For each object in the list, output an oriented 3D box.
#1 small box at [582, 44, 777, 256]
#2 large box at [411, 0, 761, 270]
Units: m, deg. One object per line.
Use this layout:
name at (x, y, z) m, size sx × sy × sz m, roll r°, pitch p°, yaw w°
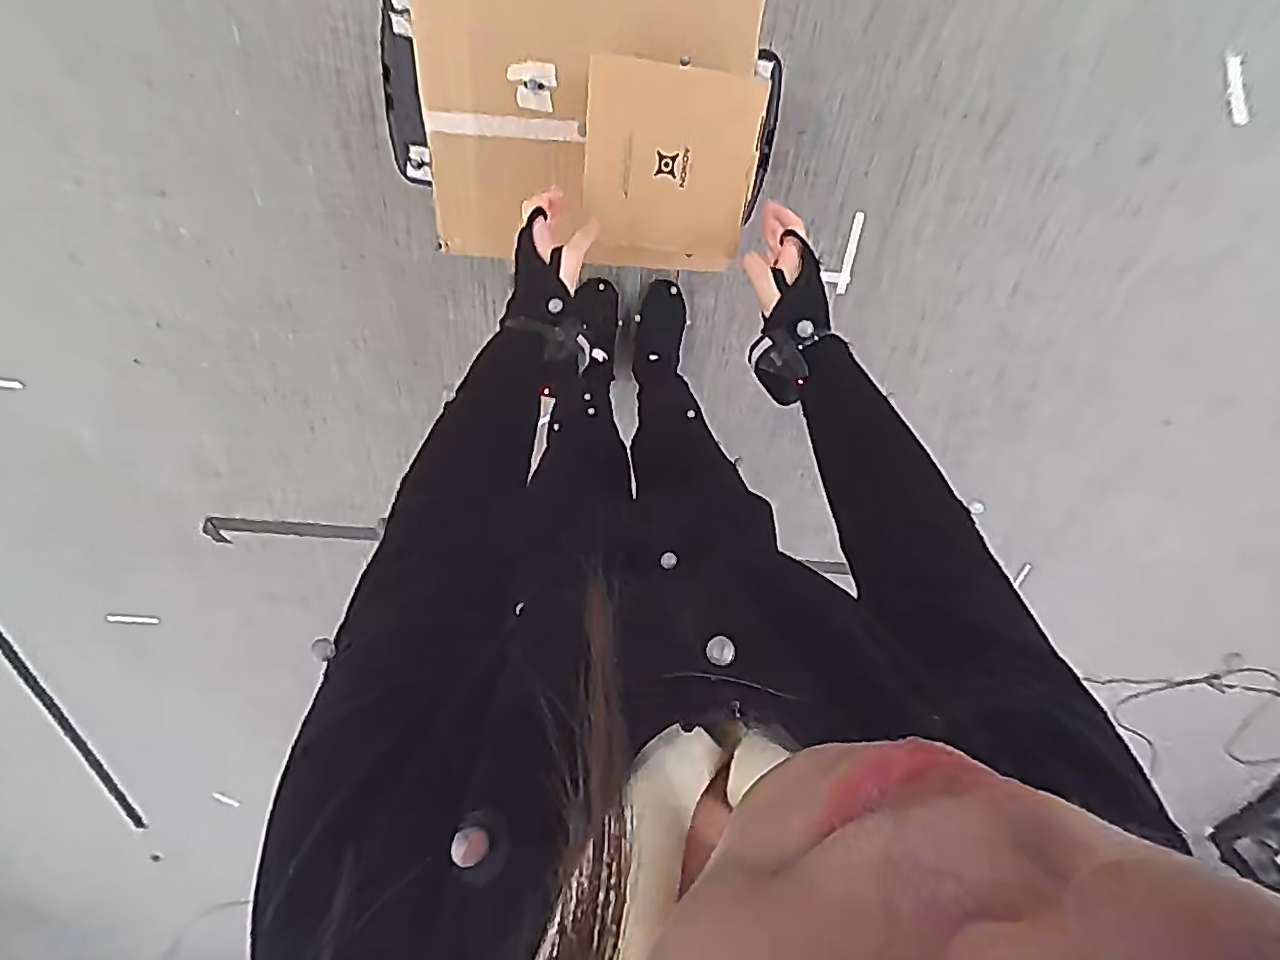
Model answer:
small box at (0.031, -0.366, 0.610) m, size 0.179 × 0.176 × 0.168 m, roll 5°, pitch 122°, yaw -5°
large box at (-0.068, -0.514, 0.802) m, size 0.408 × 0.320 × 0.320 m, roll 3°, pitch 121°, yaw -3°
